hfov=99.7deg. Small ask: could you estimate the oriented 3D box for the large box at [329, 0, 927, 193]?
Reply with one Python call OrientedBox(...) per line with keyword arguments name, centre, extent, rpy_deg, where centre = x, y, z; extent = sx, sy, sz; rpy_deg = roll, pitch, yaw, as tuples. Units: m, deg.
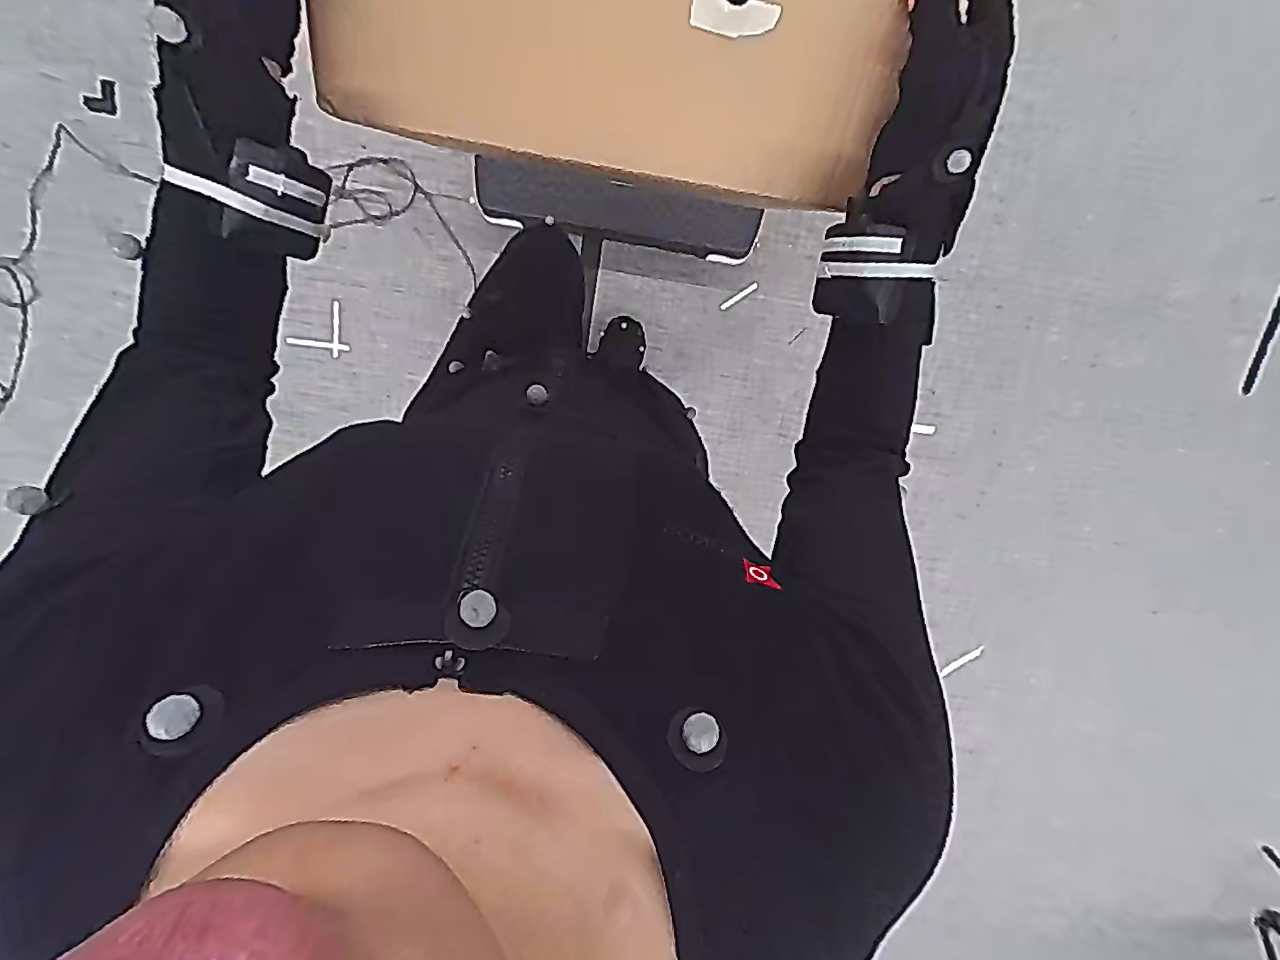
OrientedBox(name="large box", centre=(-0.005, -0.446, 0.462), extent=(0.408, 0.320, 0.320), rpy_deg=(6, 118, -8))
